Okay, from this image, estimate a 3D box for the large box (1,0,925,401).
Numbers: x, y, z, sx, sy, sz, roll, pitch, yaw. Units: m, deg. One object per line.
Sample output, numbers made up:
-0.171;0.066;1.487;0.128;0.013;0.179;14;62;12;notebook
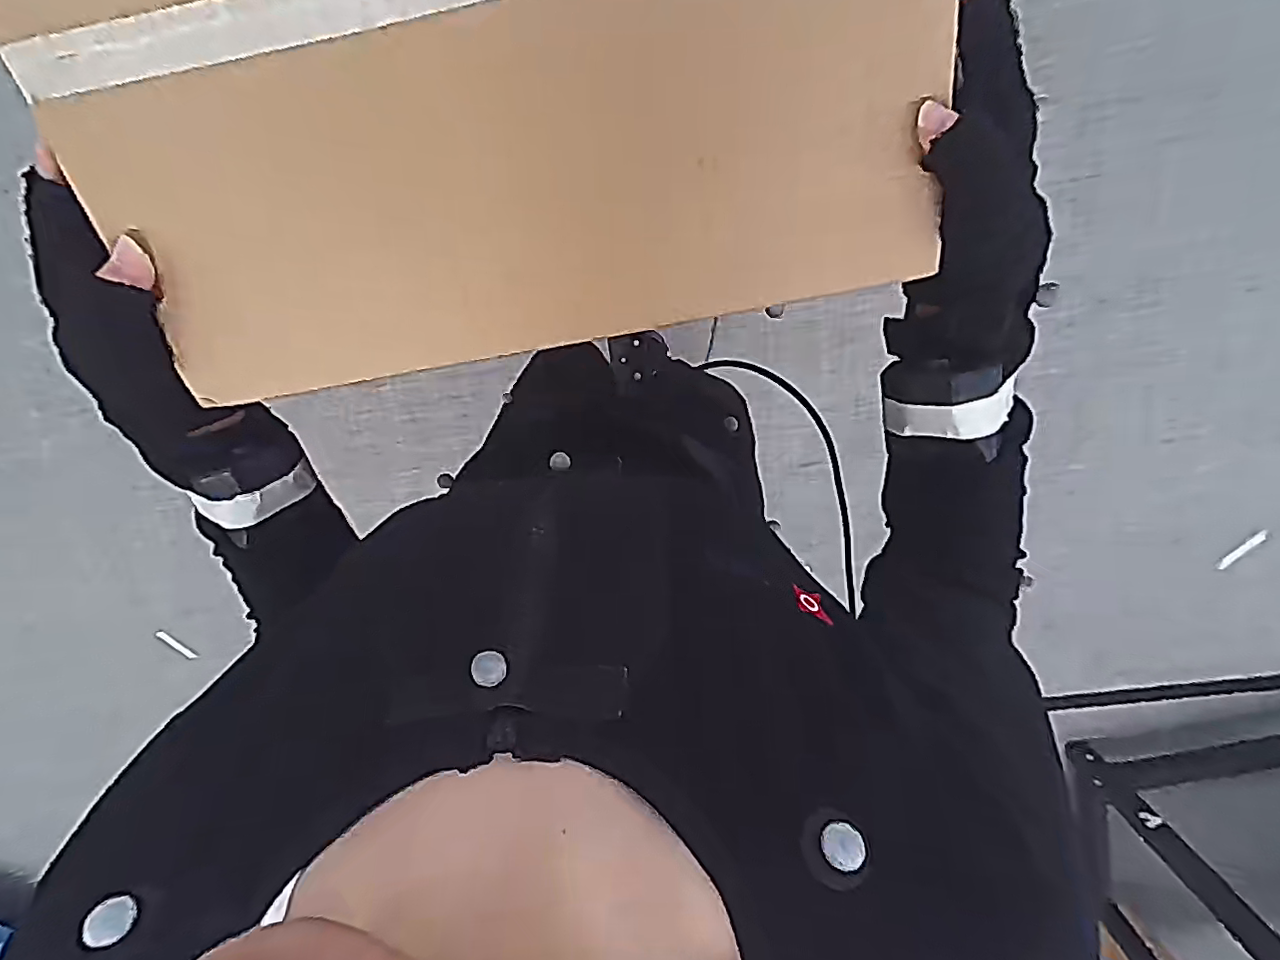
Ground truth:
-0.075;-0.280;0.368;0.408;0.320;0.320;-10;115;4;large box
